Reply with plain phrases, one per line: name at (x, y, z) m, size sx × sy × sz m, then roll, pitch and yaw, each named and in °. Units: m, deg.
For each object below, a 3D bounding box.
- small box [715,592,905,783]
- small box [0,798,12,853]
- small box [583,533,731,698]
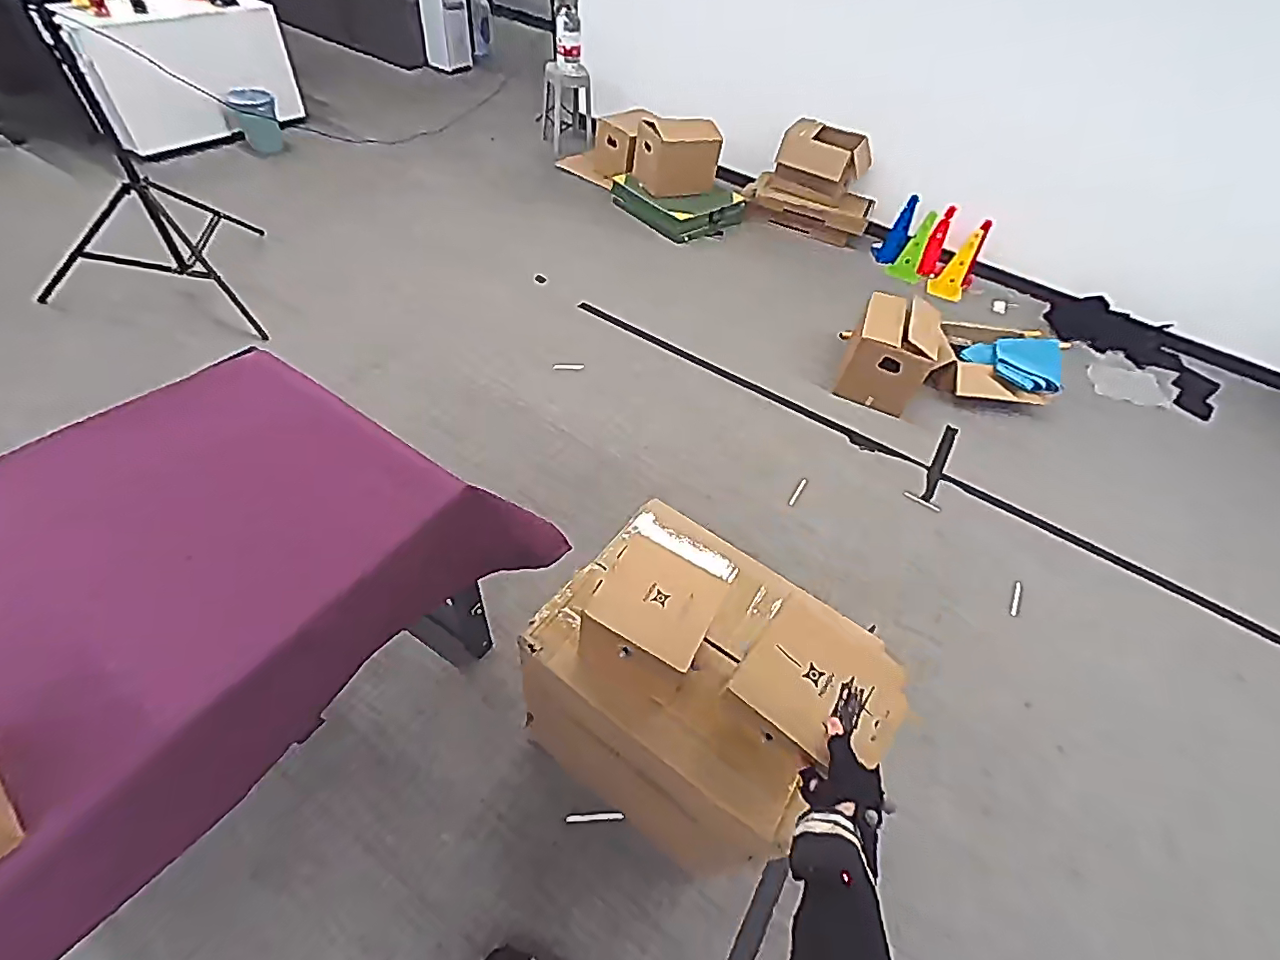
small box at (0.225, 0.293, 0.758) m, size 0.179 × 0.176 × 0.168 m, roll 34°, pitch 65°, yaw 19°
small box at (-0.773, 0.343, 0.512) m, size 0.168 × 0.176 × 0.179 m, roll 35°, pitch 53°, yaw 20°
small box at (0.020, 0.224, 0.875) m, size 0.179 × 0.176 × 0.168 m, roll 27°, pitch 54°, yaw 12°
